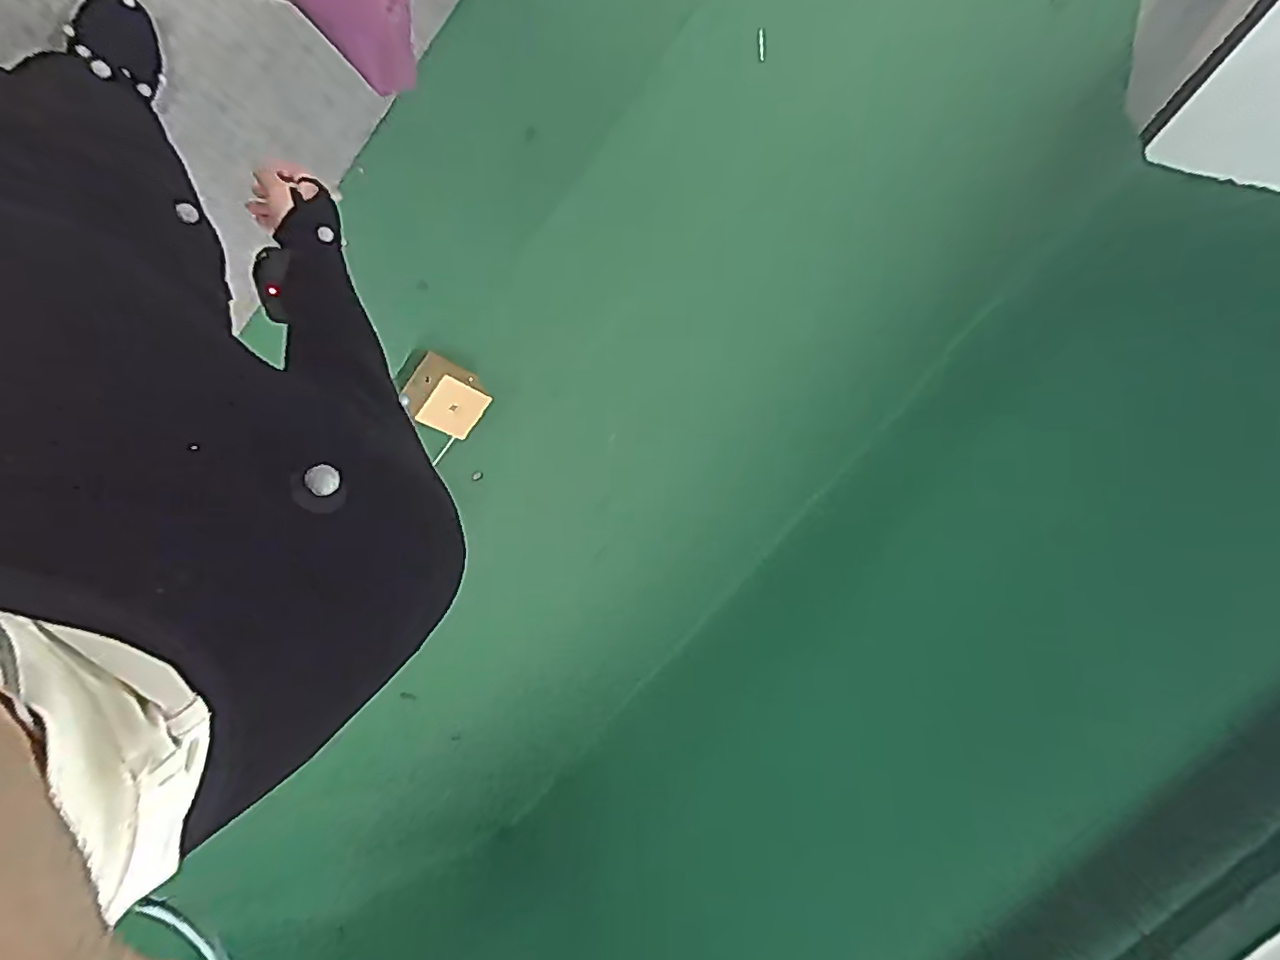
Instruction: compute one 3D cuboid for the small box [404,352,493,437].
[{"bbox_3d":[-0.590,-0.266,1.651,0.168,0.176,0.179,-51,141,11],"label":"small box"}]
